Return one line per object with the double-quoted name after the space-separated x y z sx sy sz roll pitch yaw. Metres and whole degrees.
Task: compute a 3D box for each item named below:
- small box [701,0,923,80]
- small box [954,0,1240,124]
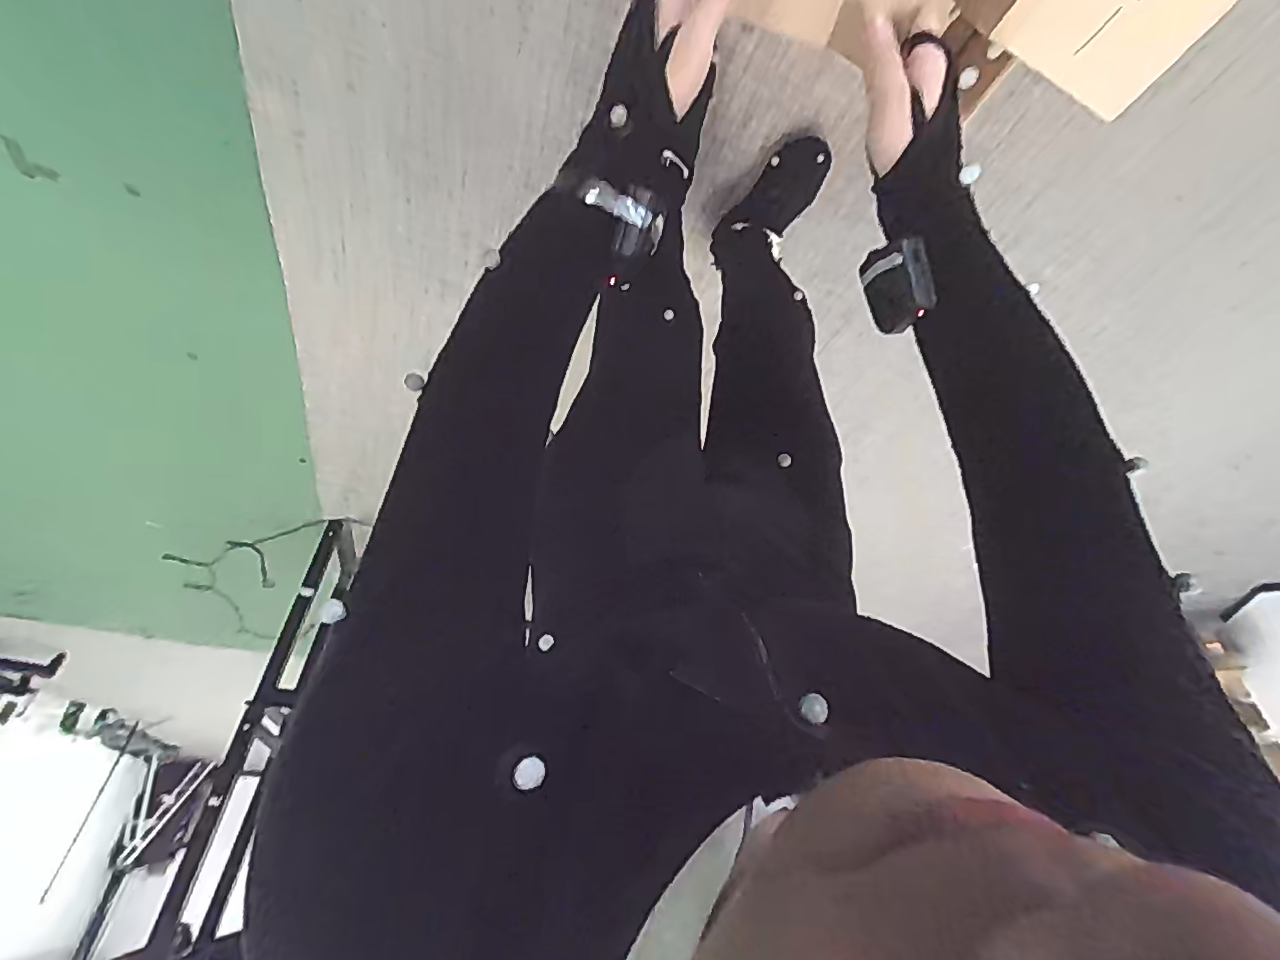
0.144 -0.458 0.423 0.168 0.176 0.179 11 136 -11 "small box"
0.418 -0.477 0.482 0.168 0.176 0.179 17 143 -18 "small box"
